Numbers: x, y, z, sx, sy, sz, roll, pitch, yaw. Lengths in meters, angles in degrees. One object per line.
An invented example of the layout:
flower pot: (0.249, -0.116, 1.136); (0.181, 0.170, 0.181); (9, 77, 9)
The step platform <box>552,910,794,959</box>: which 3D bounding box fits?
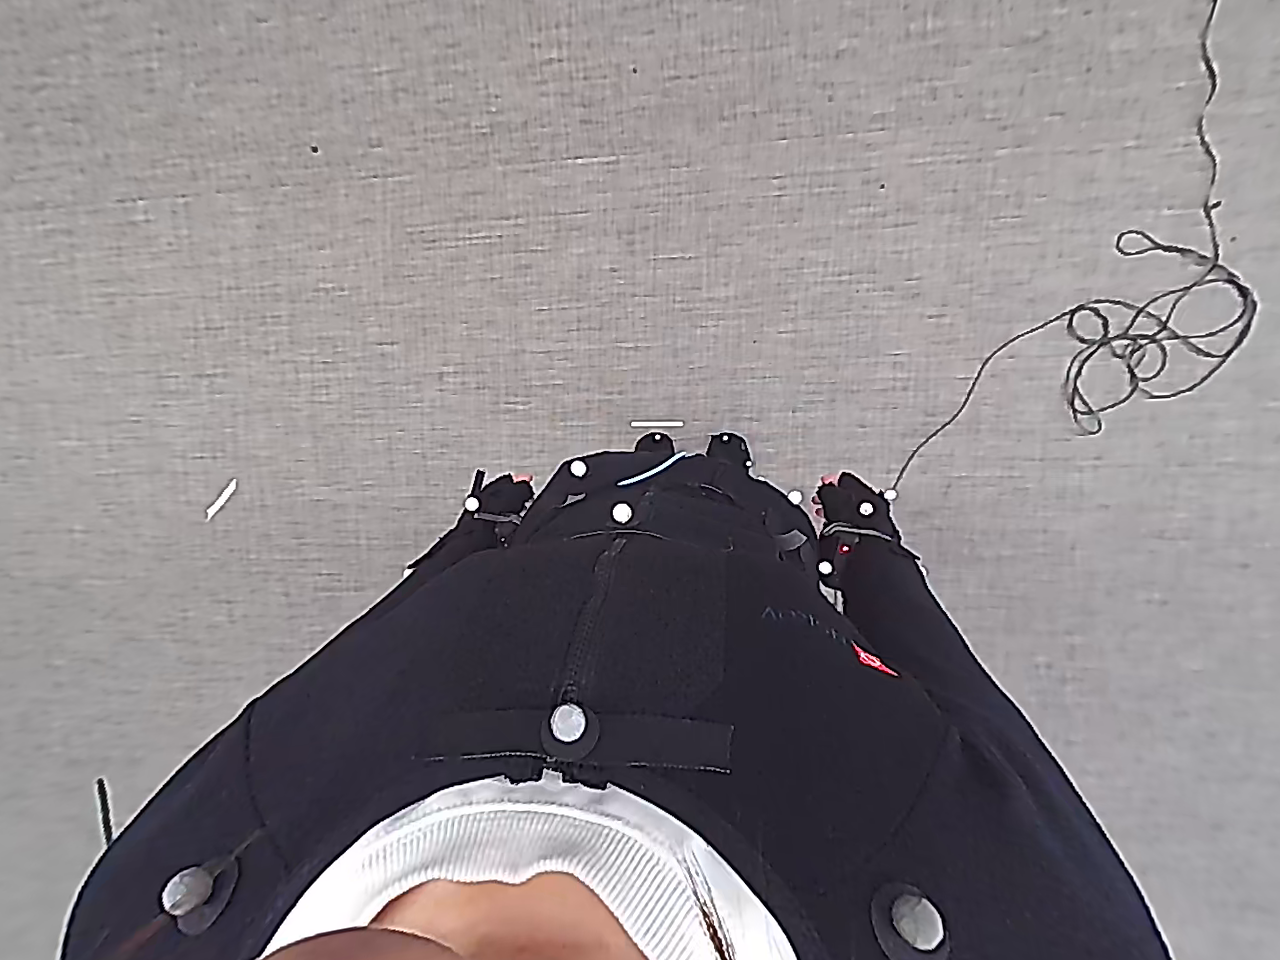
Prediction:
step platform: (0.089, 1.423, 1.493); (0.684, 0.204, 0.286); (-1, 95, 9)
